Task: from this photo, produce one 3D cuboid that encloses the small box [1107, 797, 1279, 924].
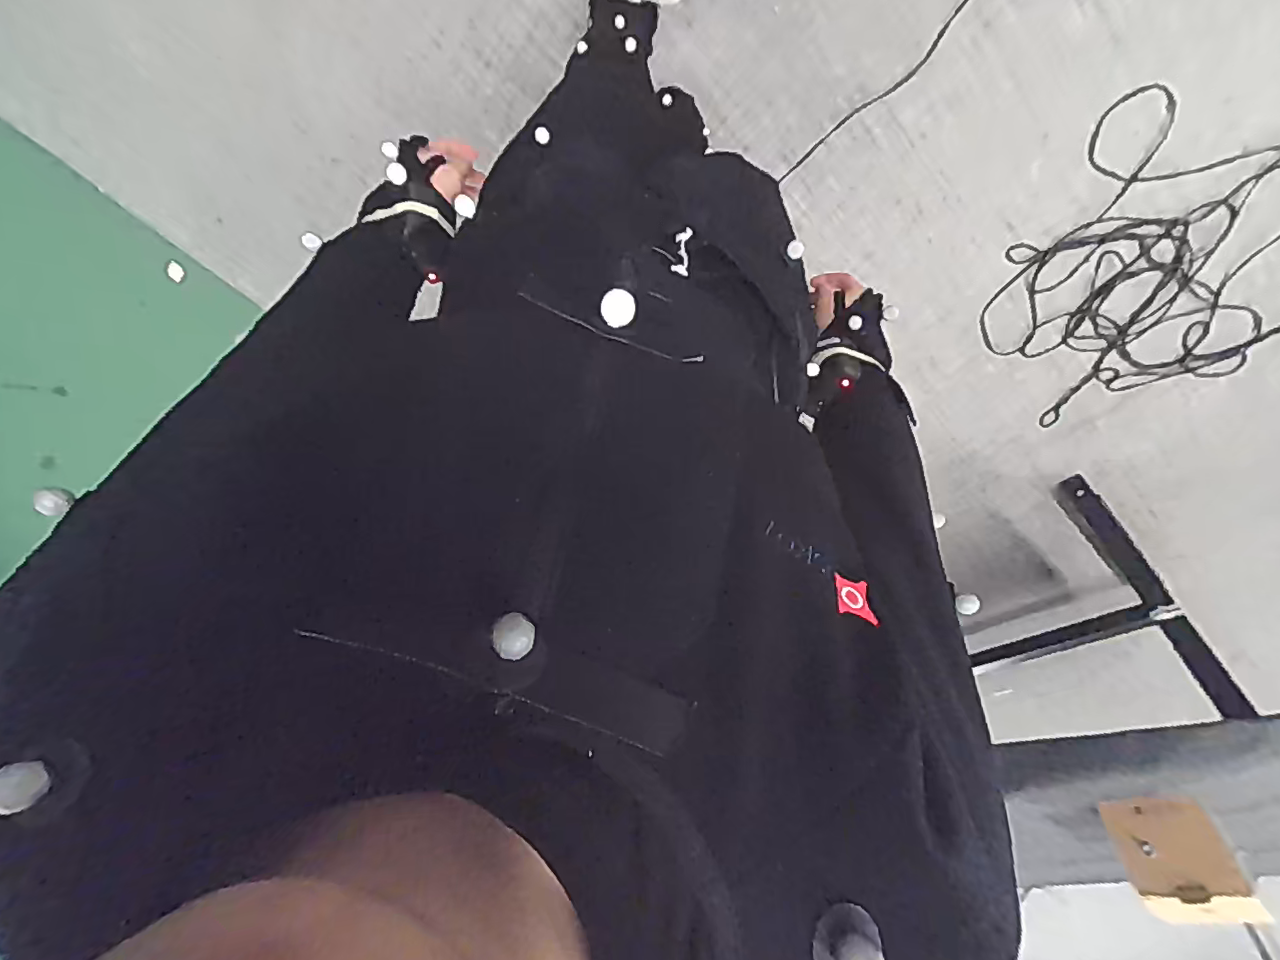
[{"bbox_3d":[1.042,0.721,1.029,0.168,0.176,0.179,-32,122,33],"label":"small box"}]
